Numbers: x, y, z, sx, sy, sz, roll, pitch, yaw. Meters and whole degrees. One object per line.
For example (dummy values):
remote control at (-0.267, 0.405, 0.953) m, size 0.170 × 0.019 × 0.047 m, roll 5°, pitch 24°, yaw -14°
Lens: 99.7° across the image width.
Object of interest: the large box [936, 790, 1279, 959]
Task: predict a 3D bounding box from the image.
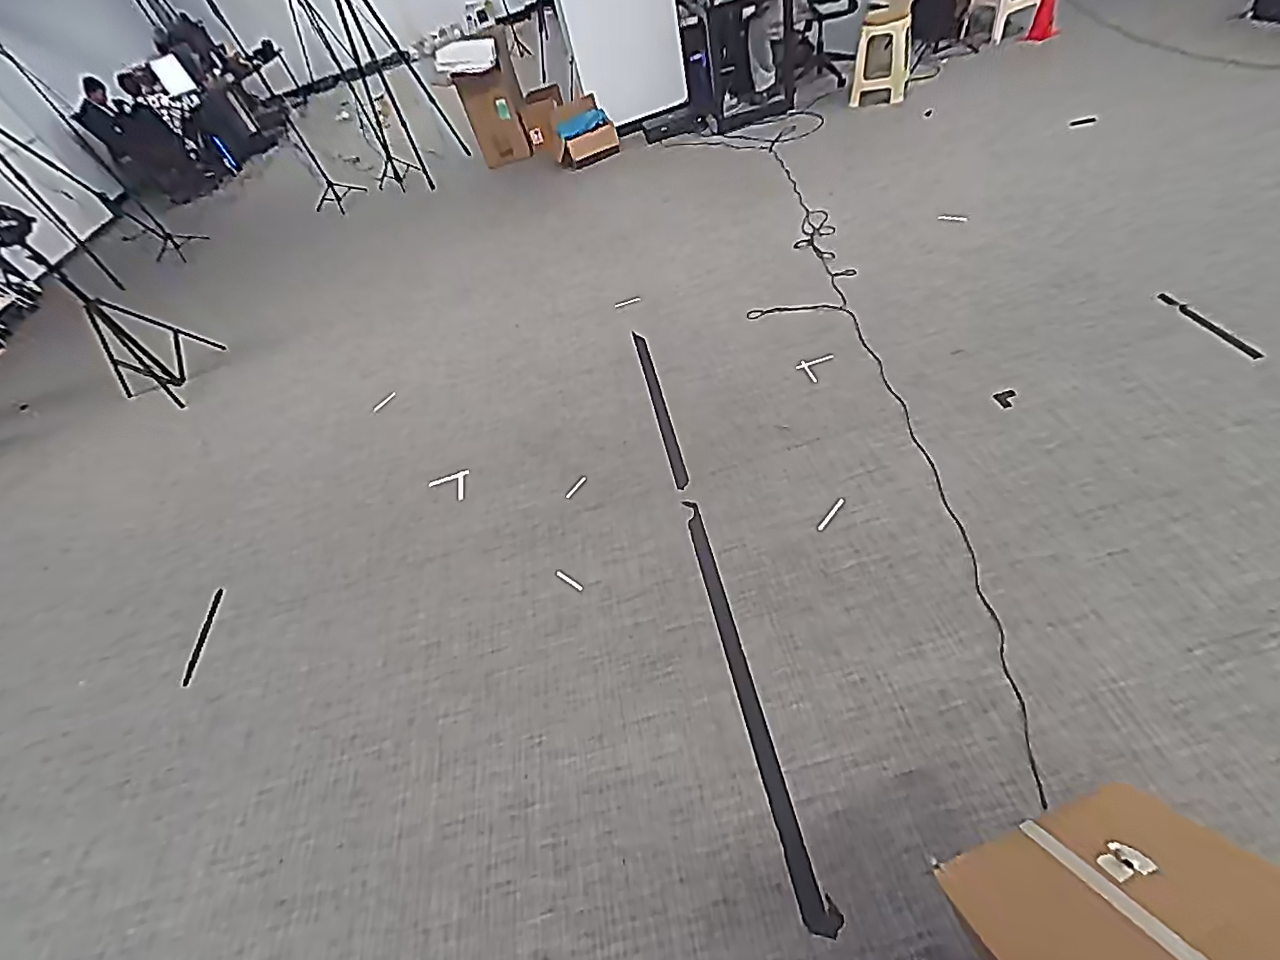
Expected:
large box at (0.631, 0.636, 0.588) m, size 0.320 × 0.408 × 0.320 m, roll -26°, pitch 82°, yaw 0°
